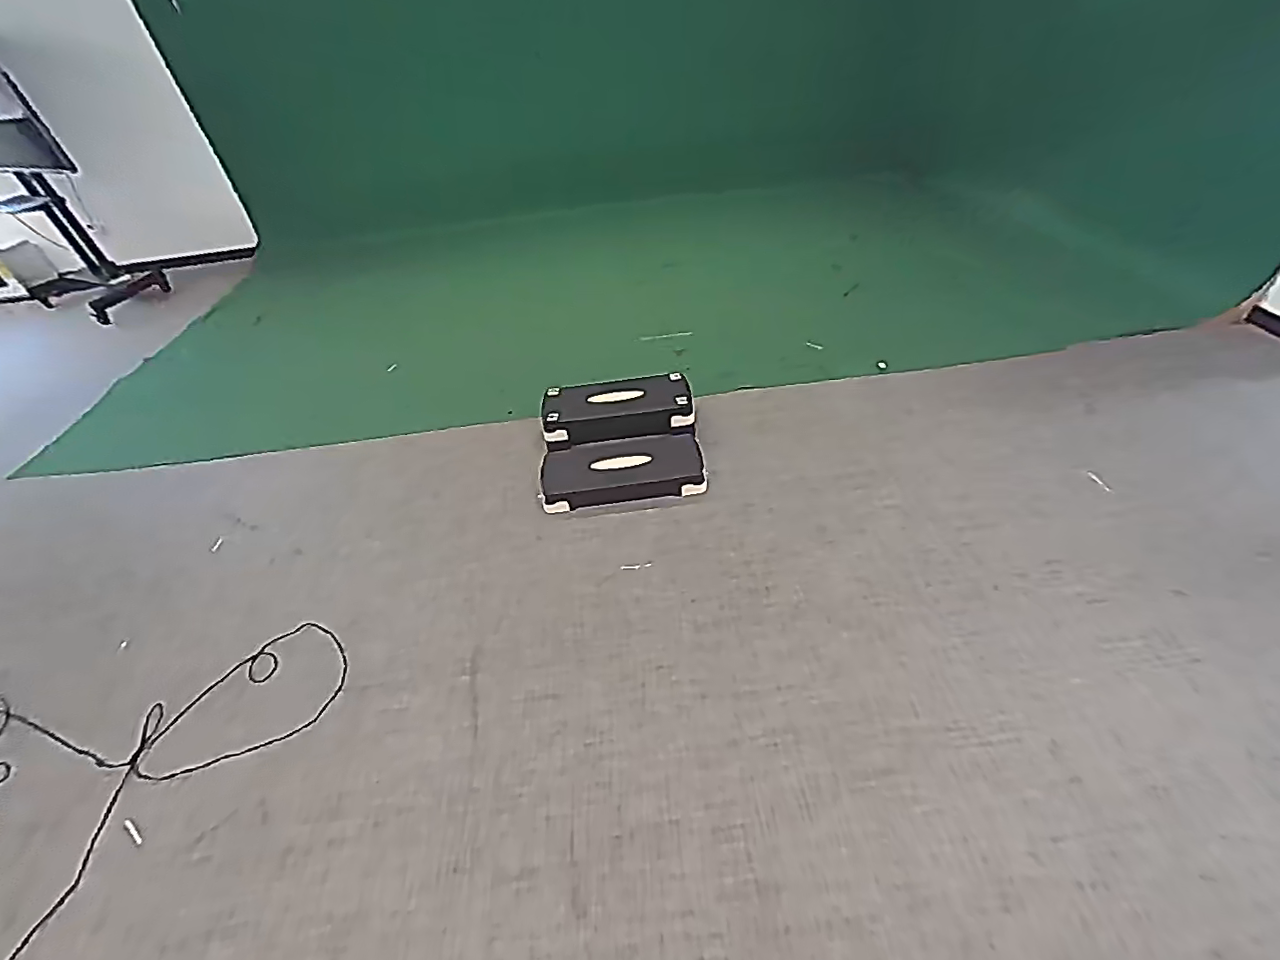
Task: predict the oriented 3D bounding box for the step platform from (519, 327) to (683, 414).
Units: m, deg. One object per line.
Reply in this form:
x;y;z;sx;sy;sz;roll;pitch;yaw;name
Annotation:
-0.161;-0.472;2.327;0.684;0.204;0.286;-8;43;0;step platform
